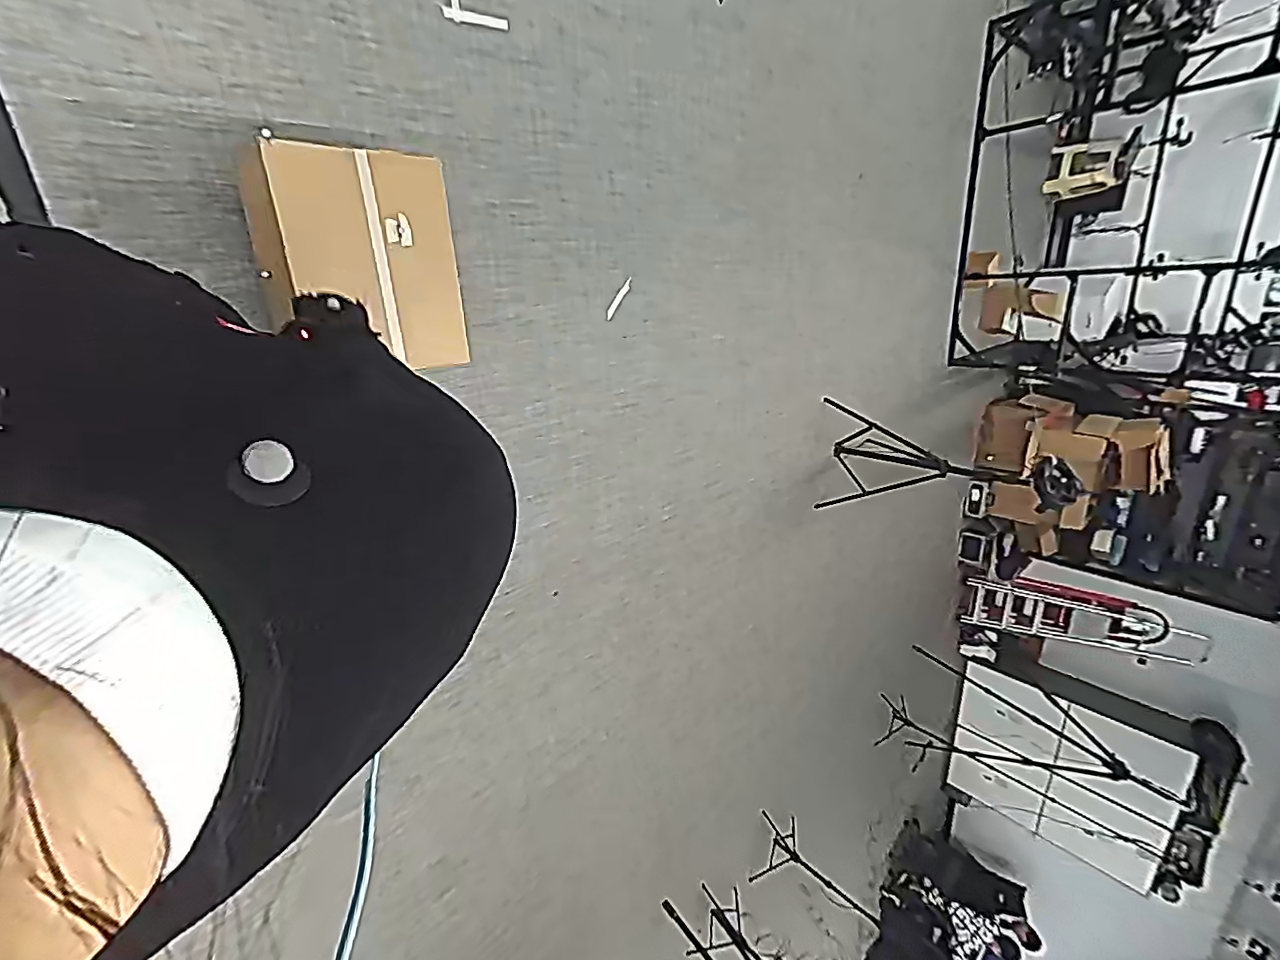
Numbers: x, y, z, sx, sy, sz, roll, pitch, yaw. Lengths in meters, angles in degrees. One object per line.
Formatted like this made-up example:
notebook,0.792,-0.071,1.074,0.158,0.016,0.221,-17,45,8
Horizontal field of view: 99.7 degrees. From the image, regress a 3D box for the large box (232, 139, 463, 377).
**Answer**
large box,-0.623,-0.449,1.165,0.320,0.320,0.408,-19,114,-40
